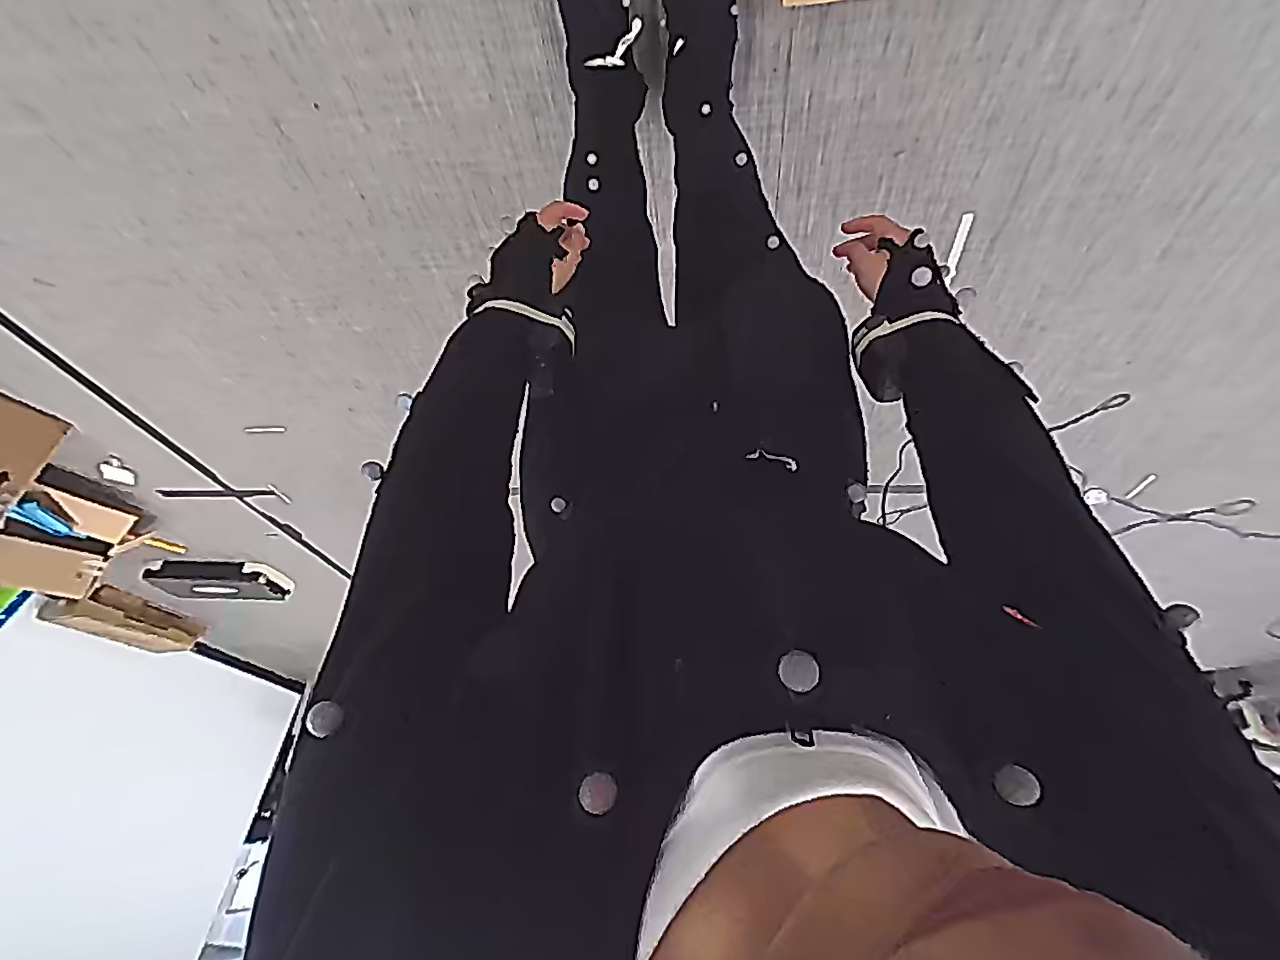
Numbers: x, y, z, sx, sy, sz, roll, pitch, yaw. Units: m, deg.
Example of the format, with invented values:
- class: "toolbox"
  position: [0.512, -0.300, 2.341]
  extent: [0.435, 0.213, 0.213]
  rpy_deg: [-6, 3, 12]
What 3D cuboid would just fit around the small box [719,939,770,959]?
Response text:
- class: "small box"
  position: [0.377, 1.768, 1.934]
  extent: [0.179, 0.176, 0.168]
  rpy_deg: [-2, 146, 8]
